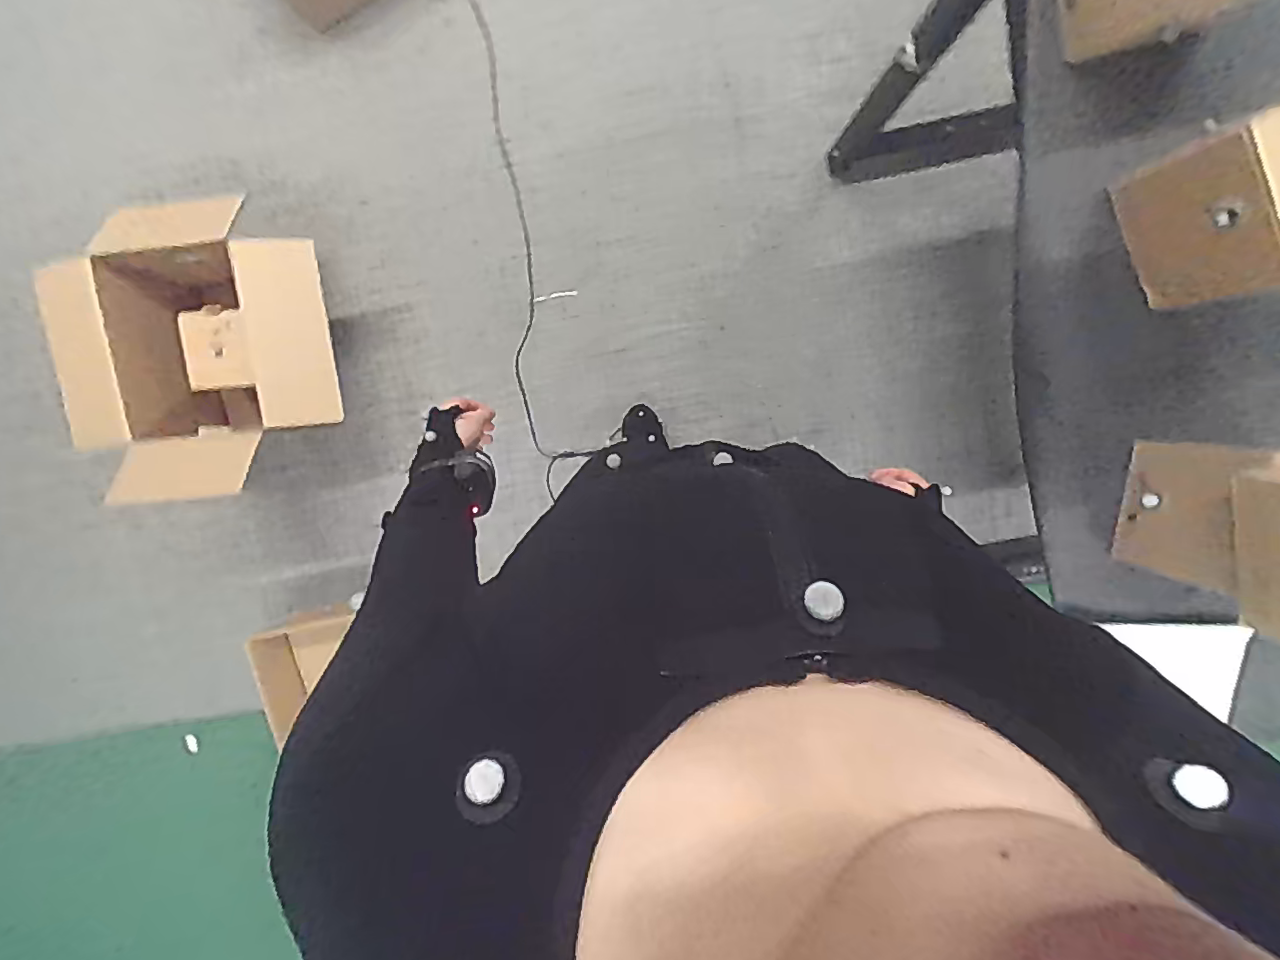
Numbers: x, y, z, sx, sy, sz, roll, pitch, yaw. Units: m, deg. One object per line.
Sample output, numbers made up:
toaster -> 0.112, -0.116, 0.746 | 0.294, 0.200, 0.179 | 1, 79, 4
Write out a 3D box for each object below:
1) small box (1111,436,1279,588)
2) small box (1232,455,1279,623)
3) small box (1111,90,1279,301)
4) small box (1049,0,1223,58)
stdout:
small box -> 0.745, 0.036, 0.661 | 0.179, 0.176, 0.168 | 5, 97, 0
small box -> 0.719, 0.063, 0.500 | 0.168, 0.176, 0.179 | -11, 96, 2
small box -> 0.701, -0.331, 0.617 | 0.168, 0.176, 0.179 | -27, 97, 5
small box -> 0.585, -0.609, 0.582 | 0.179, 0.176, 0.168 | -15, 97, 3
